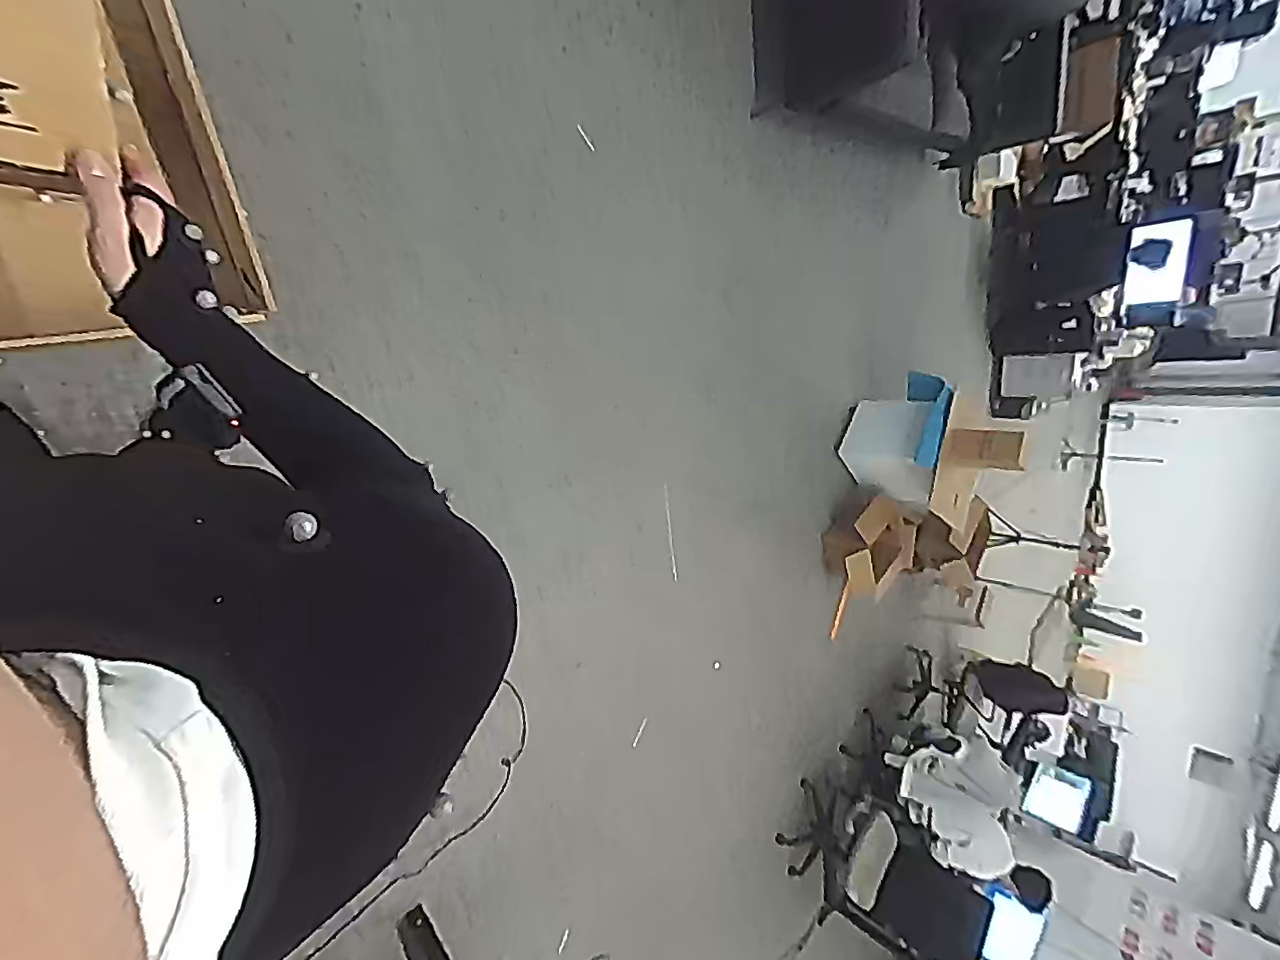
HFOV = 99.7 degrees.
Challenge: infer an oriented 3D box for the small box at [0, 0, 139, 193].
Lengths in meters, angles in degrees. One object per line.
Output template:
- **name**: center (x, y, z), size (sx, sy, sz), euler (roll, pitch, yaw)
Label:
- **small box**: center (-0.515, -0.337, 0.421), size (0.168, 0.176, 0.179), euler (-10, 113, -39)
